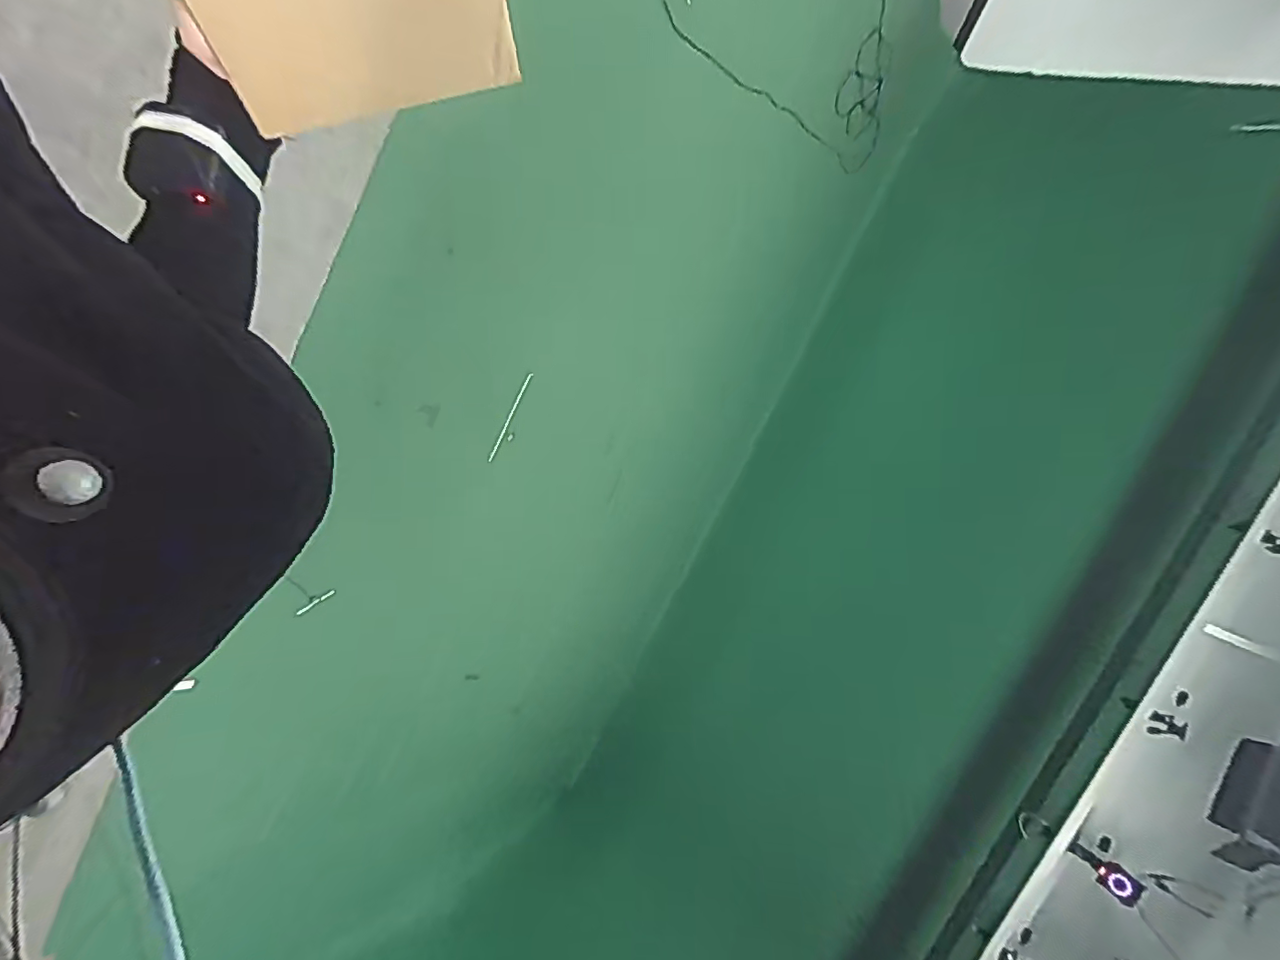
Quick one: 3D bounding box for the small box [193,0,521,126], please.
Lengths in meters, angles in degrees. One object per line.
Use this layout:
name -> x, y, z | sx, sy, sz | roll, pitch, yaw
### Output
small box -> -0.186, -0.349, 0.310 | 0.168, 0.179, 0.176 | -21, 149, -9
